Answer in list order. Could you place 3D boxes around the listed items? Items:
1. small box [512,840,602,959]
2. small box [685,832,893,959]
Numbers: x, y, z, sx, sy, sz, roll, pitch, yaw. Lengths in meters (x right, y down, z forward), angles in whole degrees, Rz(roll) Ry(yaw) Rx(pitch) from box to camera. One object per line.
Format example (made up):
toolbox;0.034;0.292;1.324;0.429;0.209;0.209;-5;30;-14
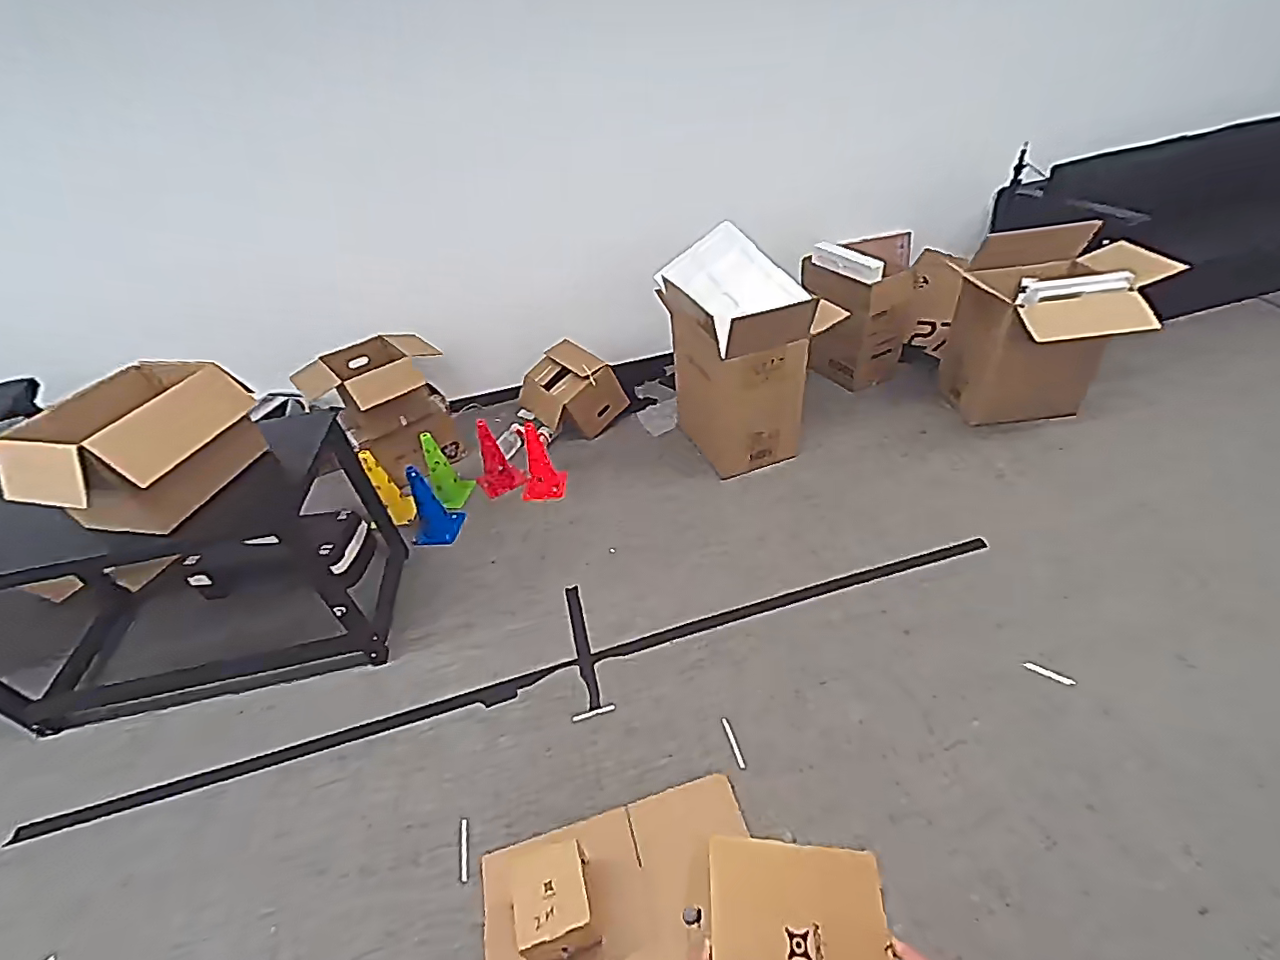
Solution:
small box;-0.196;1.000;1.278;0.168;0.176;0.179;-16;40;-9
small box;0.140;0.486;0.556;0.179;0.176;0.168;8;45;-1
